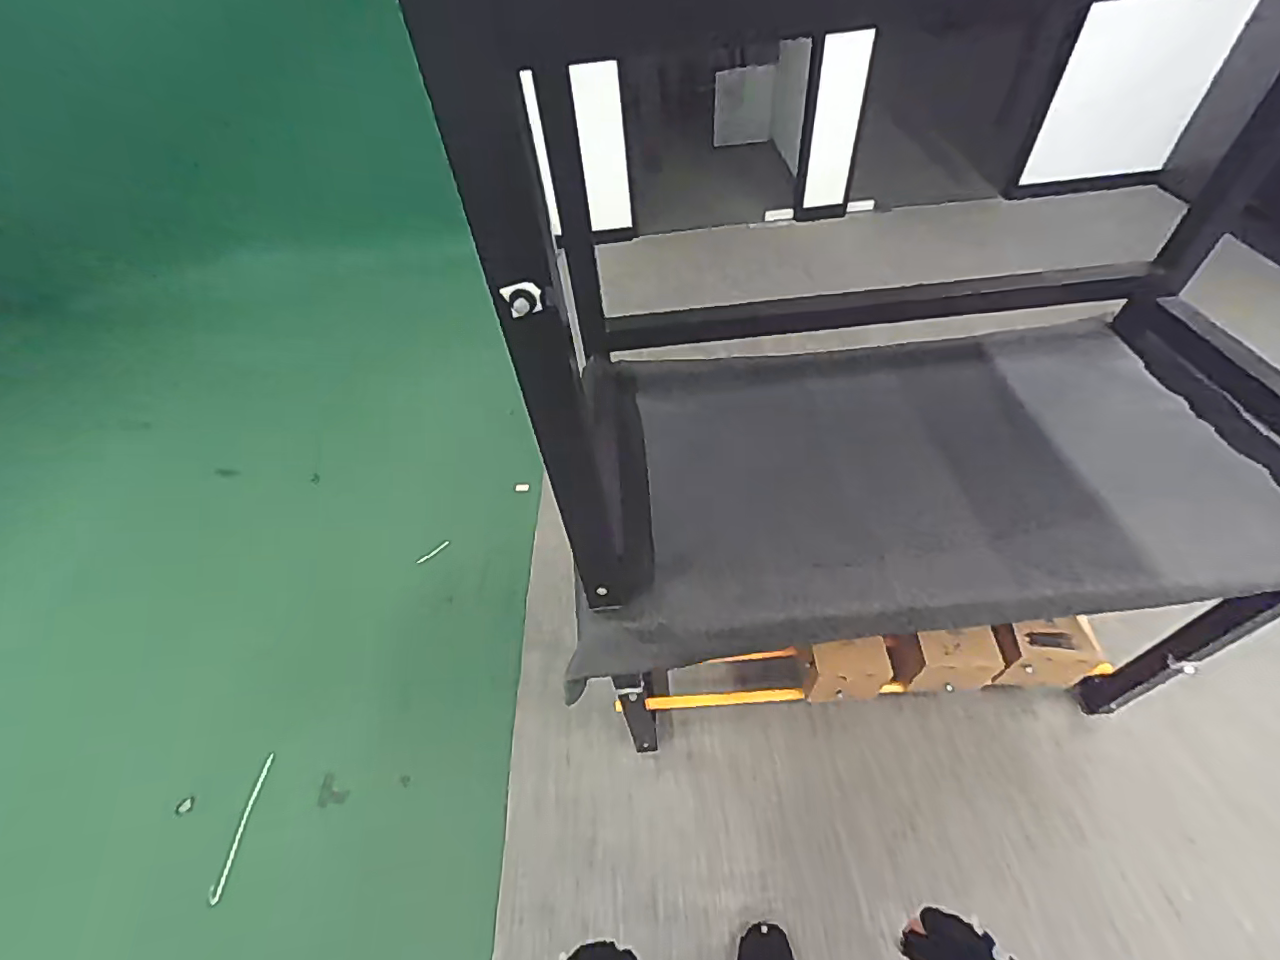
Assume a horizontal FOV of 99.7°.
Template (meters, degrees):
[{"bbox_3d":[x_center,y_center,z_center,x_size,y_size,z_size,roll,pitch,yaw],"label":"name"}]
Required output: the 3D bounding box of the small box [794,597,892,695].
[{"bbox_3d":[0.475,0.400,1.298,0.168,0.176,0.179,-4,52,3],"label":"small box"}]
